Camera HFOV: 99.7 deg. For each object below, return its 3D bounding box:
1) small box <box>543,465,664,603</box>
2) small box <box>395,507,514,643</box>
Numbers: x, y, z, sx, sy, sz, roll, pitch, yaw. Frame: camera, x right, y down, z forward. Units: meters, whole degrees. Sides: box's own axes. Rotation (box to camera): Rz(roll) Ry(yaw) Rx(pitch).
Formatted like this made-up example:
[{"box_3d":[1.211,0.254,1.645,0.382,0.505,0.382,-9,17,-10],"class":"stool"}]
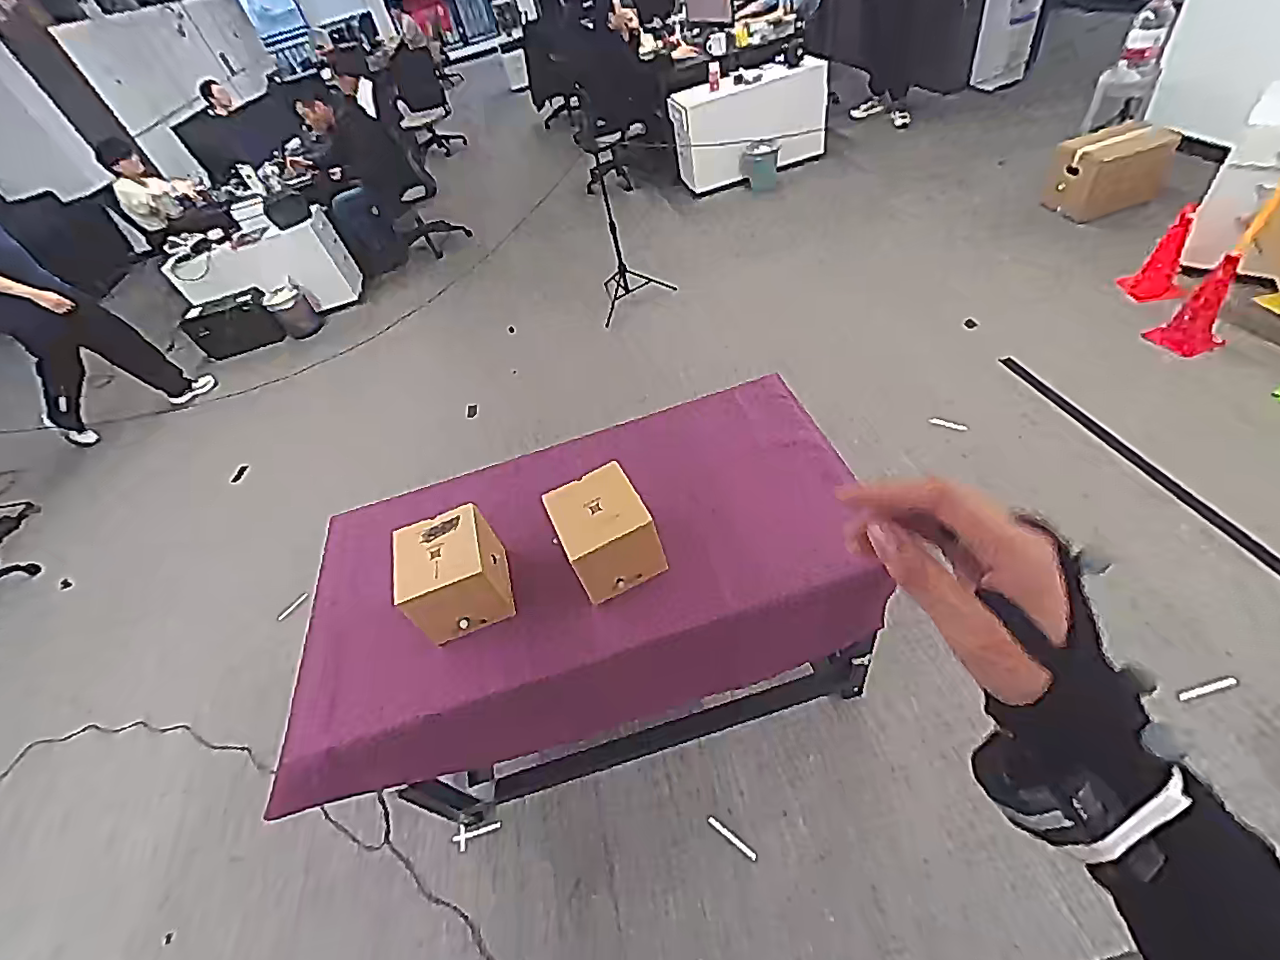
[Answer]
[{"box_3d":[-0.069,0.108,1.065,0.168,0.176,0.179,-27,47,-8],"class":"small box"},{"box_3d":[-0.364,0.190,1.072,0.168,0.176,0.179,-21,47,-4],"class":"small box"}]
